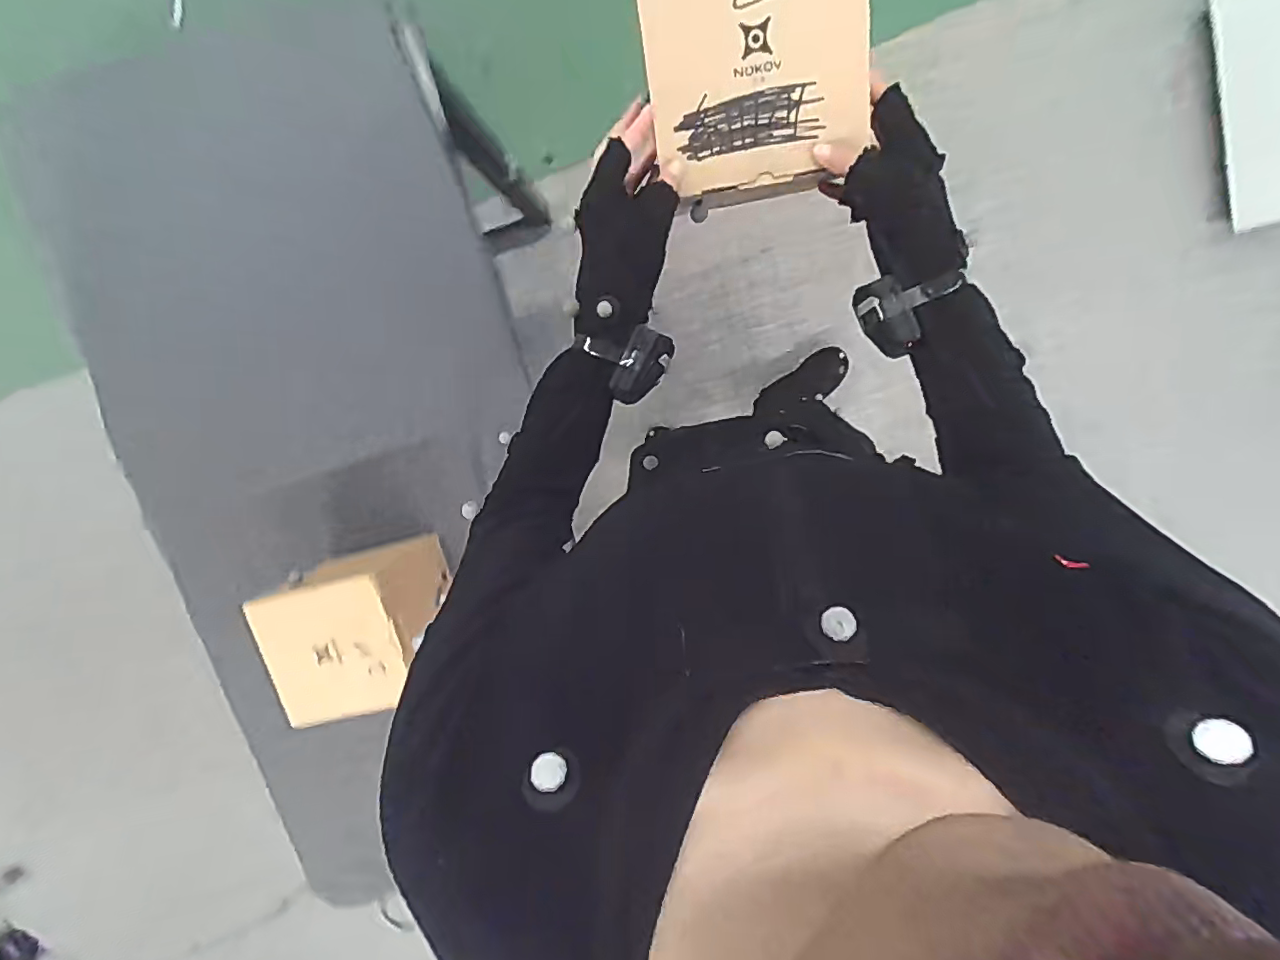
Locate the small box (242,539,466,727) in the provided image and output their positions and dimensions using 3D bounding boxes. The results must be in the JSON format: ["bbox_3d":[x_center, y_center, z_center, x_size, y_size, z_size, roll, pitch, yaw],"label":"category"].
[{"bbox_3d":[-0.364,0.192,0.720,0.179,0.176,0.168,-15,99,7],"label":"small box"}]
